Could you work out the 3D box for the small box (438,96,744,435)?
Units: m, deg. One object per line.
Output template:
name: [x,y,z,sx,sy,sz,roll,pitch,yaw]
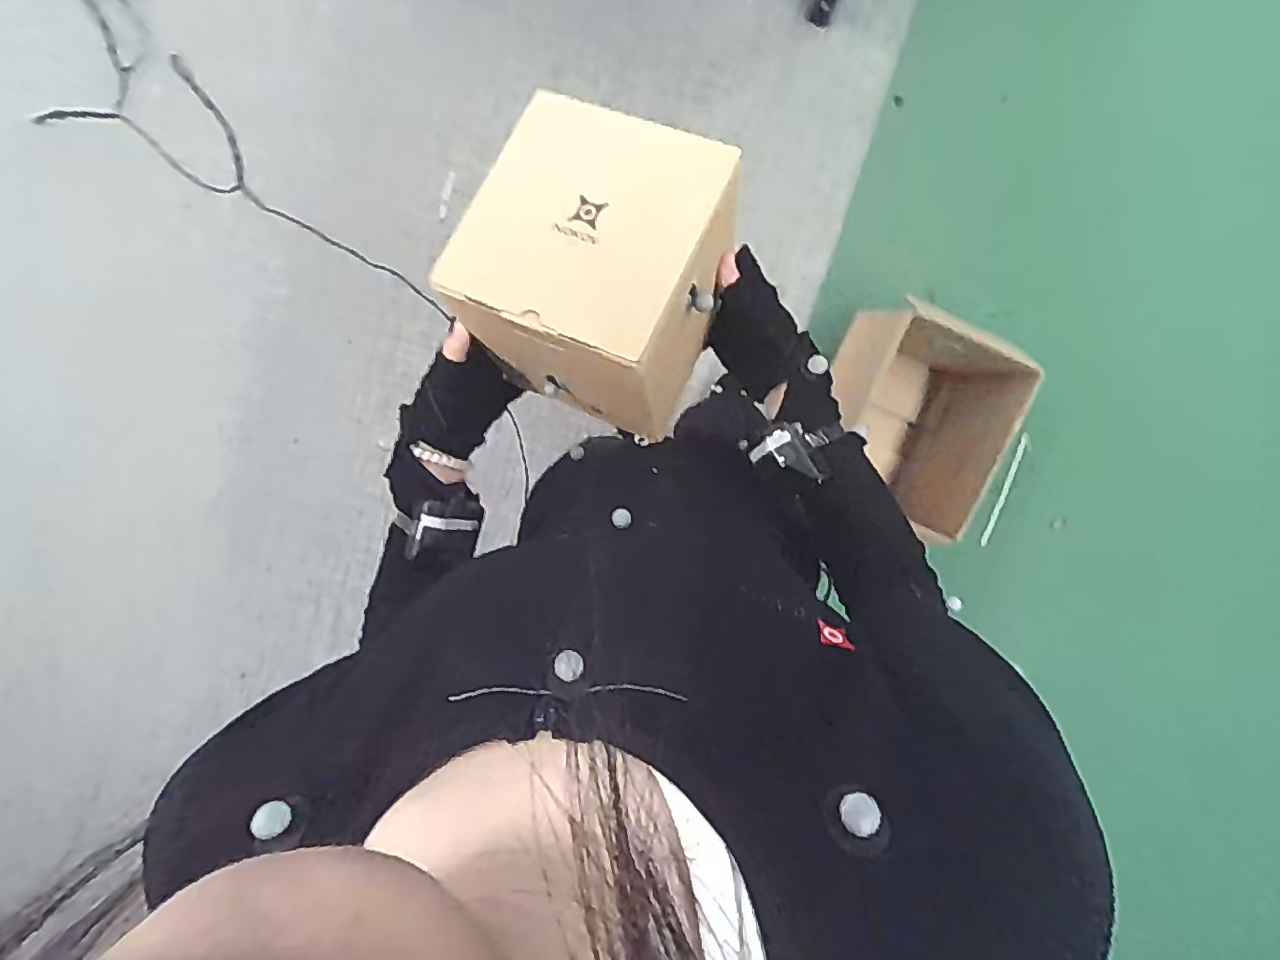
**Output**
small box: [-0.027,-0.162,0.452,0.168,0.176,0.179,22,80,11]
